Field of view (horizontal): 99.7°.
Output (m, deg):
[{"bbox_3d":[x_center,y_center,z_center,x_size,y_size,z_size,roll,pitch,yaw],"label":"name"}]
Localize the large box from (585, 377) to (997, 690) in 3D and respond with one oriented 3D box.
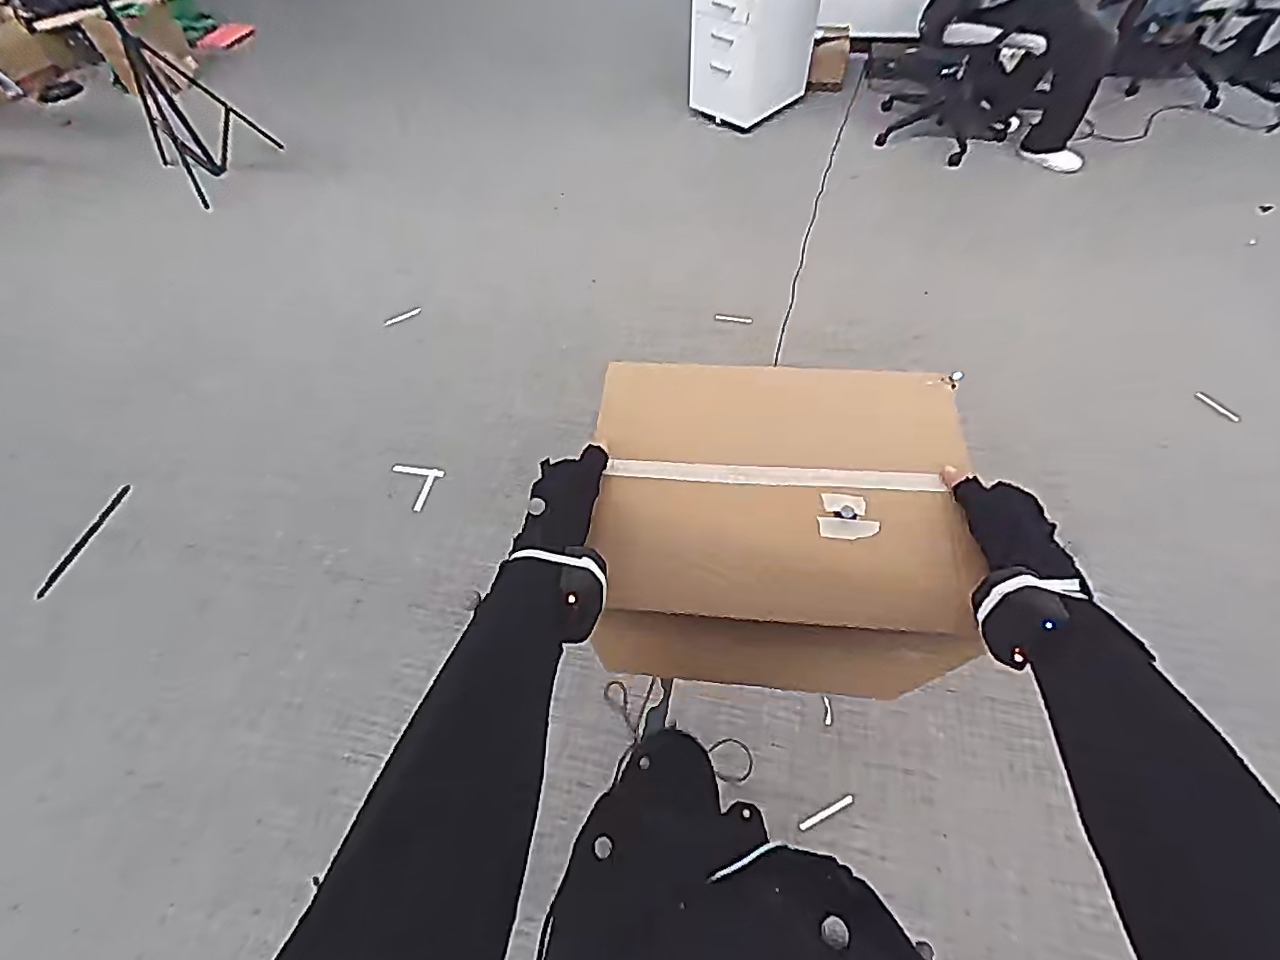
[{"bbox_3d":[0.158,0.083,0.725,0.408,0.320,0.320,3,60,5],"label":"large box"}]
